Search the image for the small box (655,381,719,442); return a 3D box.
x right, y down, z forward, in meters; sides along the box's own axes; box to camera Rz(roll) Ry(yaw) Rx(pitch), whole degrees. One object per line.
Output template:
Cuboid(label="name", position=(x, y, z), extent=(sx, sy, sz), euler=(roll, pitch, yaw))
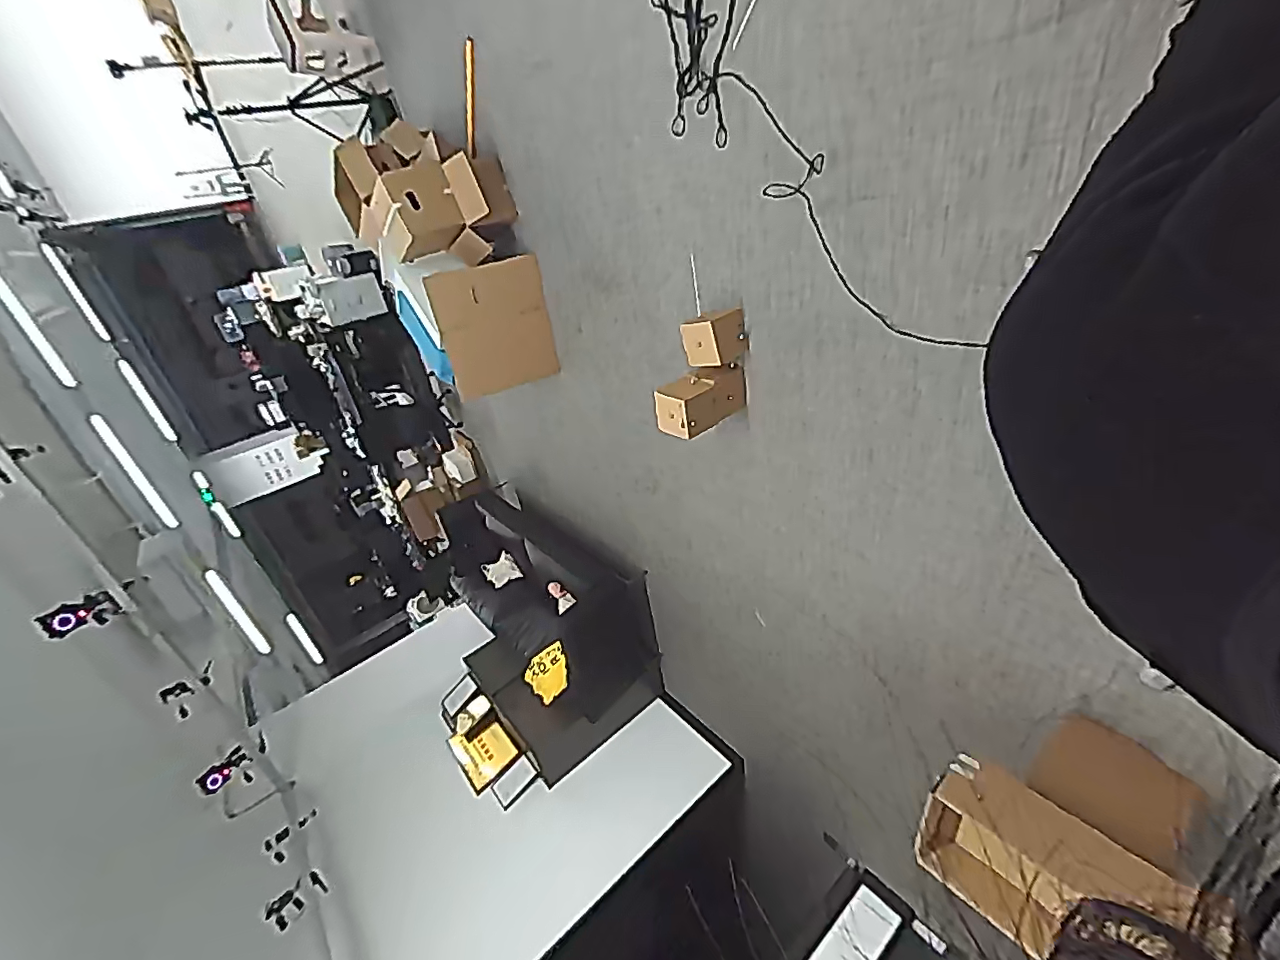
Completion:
Cuboid(label="small box", position=(0.184, -0.272, 2.090), extent=(0.179, 0.176, 0.168), euler=(28, 138, 46))

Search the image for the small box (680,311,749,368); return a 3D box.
Cuboid(label="small box", position=(0.285, -0.530, 2.043), extent=(0.179, 0.176, 0.168), euler=(14, 128, 52))

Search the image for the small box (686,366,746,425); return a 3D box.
Cuboid(label="small box", position=(0.308, -0.348, 2.166), extent=(0.168, 0.176, 0.179), euler=(26, 137, 47))
